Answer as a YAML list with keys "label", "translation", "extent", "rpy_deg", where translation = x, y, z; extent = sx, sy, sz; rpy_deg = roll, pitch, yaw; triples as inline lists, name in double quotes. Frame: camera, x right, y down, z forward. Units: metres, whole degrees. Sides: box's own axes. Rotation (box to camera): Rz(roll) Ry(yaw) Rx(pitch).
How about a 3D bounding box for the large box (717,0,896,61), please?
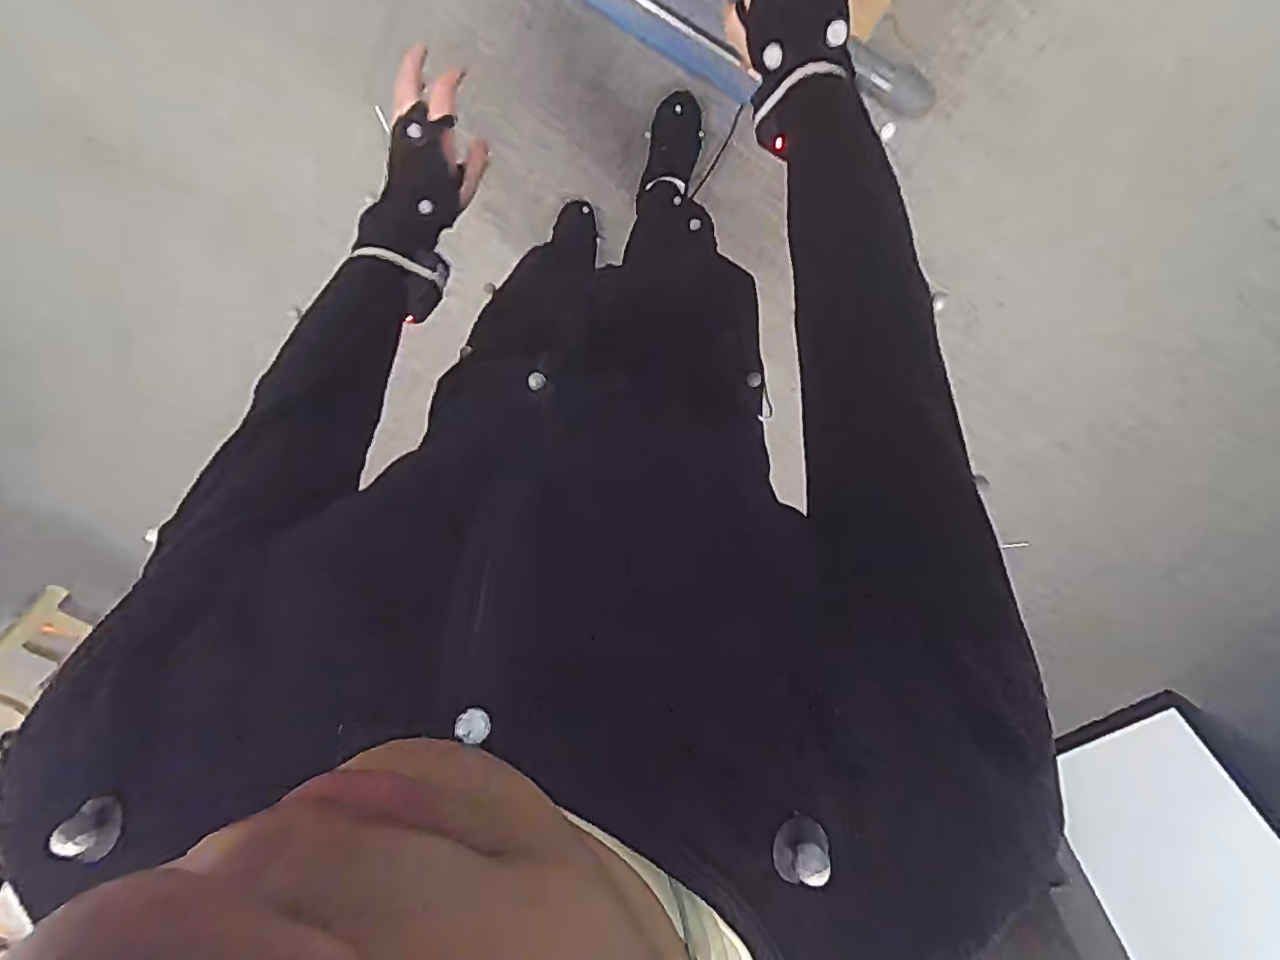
- label: "large box"
  translation: [0.271, -0.896, 0.760]
  extent: [0.320, 0.320, 0.408]
  rpy_deg: [21, 125, -14]
